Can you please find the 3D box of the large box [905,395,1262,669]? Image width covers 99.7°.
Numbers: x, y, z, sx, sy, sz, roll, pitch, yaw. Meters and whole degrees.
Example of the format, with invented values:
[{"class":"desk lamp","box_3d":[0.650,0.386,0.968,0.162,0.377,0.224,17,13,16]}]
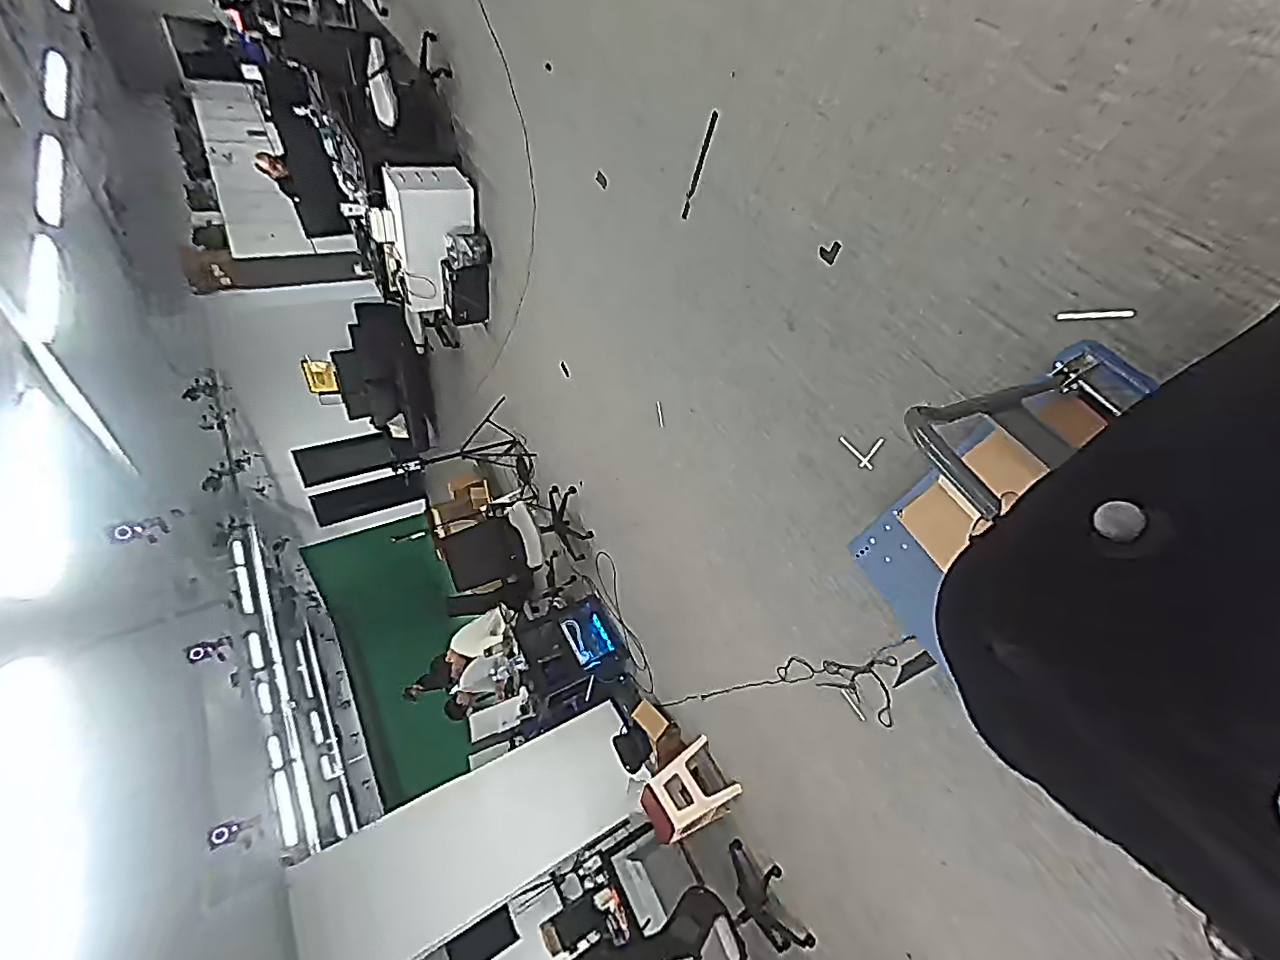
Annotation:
[{"class":"large box","box_3d":[0.857,0.094,1.091,0.408,0.320,0.320,58,148,26]}]
